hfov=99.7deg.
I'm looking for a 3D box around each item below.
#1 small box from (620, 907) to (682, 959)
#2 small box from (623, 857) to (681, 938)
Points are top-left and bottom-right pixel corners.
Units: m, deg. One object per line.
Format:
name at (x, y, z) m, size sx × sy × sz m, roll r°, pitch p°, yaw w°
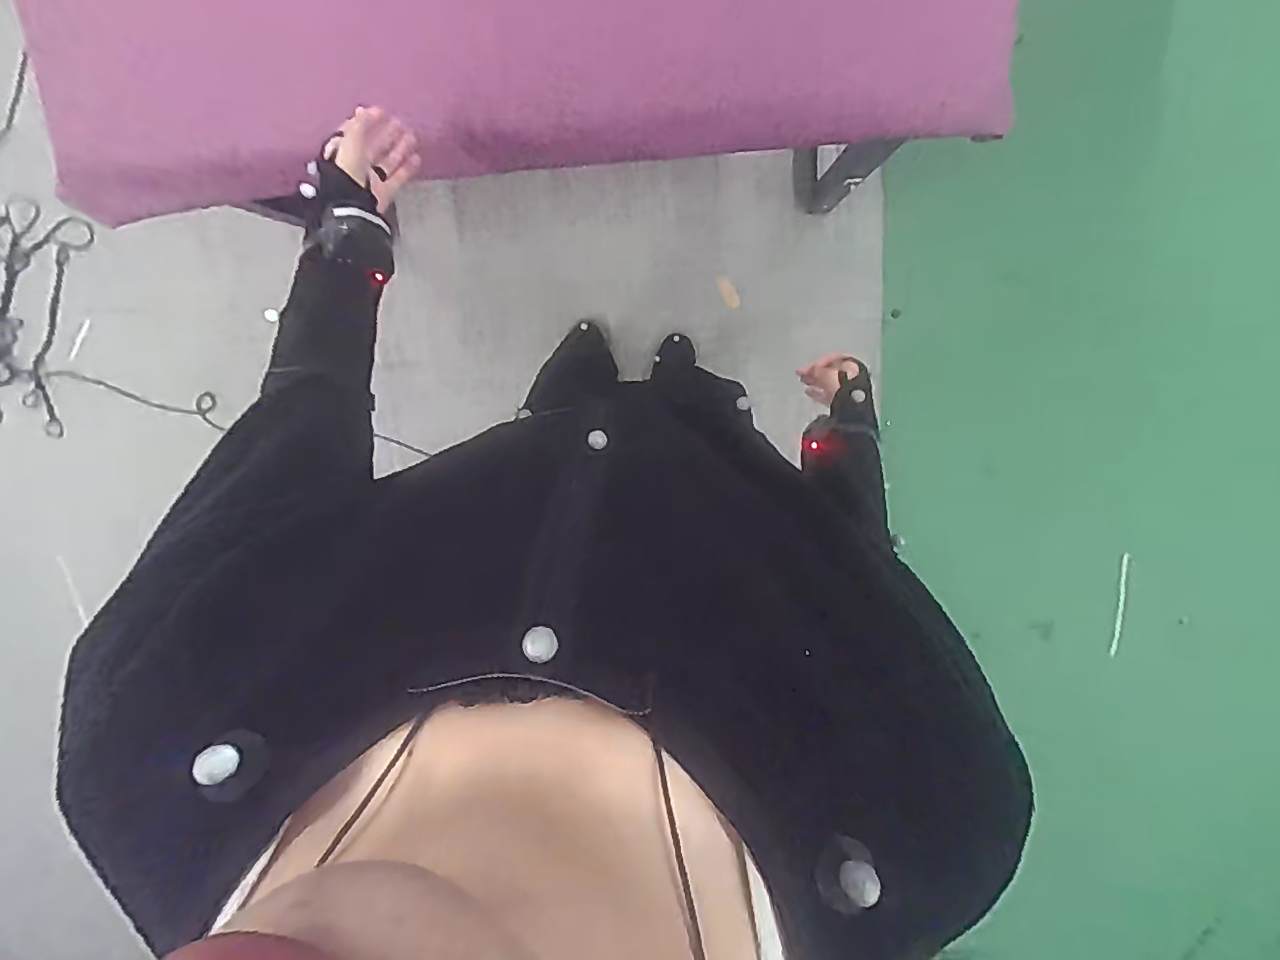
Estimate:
small box at (0.034, 1.395, 1.584) m, size 0.168 × 0.176 × 0.179 m, roll -6°, pitch 104°, yaw 6°
small box at (0.042, 1.350, 1.742) m, size 0.168 × 0.176 × 0.179 m, roll -6°, pitch 104°, yaw 5°
